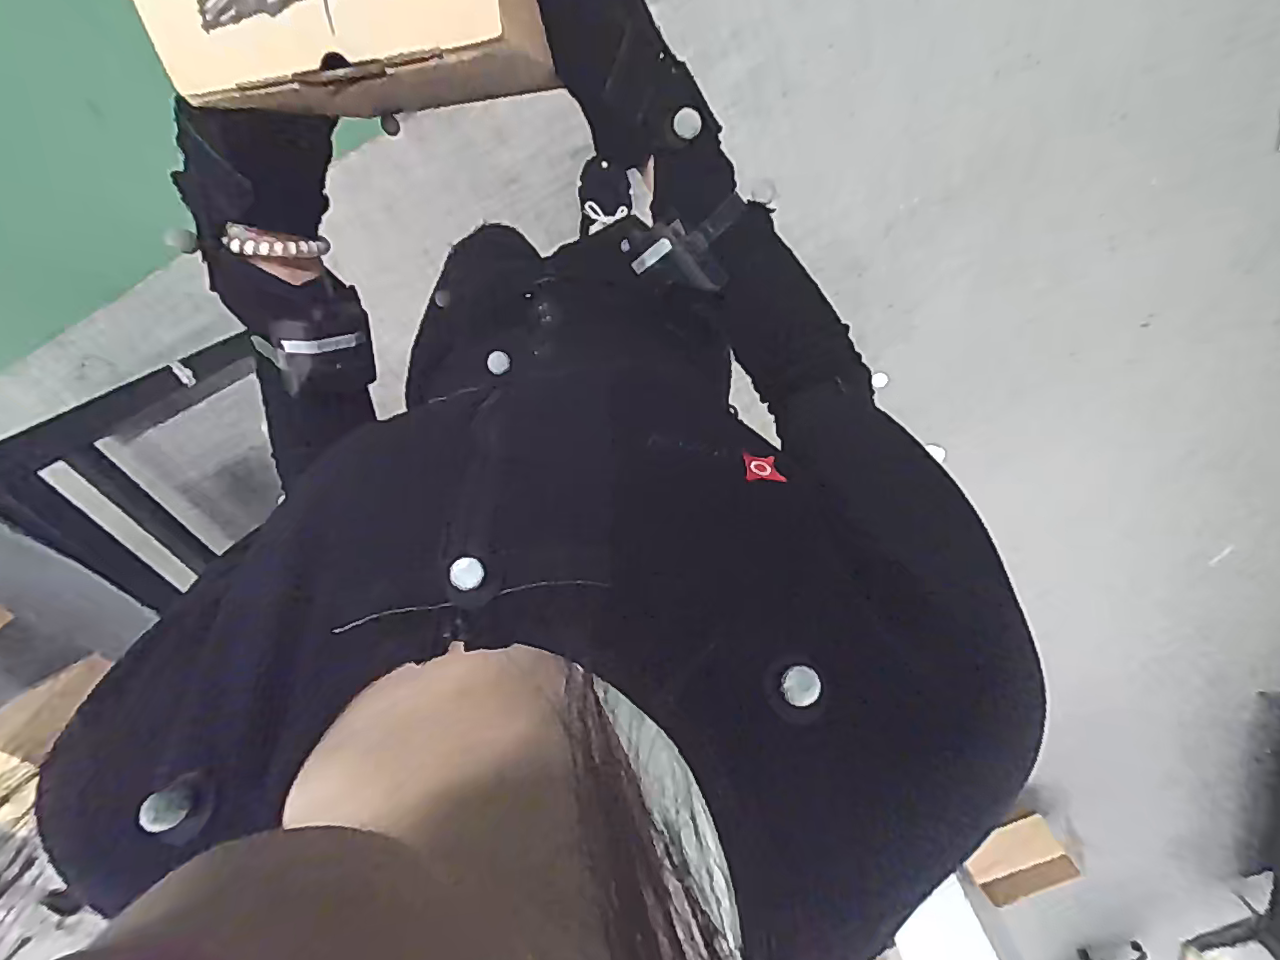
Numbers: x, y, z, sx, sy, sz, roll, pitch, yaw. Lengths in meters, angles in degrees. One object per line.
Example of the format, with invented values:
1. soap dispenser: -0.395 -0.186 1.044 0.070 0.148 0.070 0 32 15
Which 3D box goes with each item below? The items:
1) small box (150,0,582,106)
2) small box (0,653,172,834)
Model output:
1. small box: -0.133 -0.301 0.269 0.168 0.176 0.179 -3 120 8
2. small box: -0.903 0.405 0.843 0.179 0.176 0.168 -25 120 10
